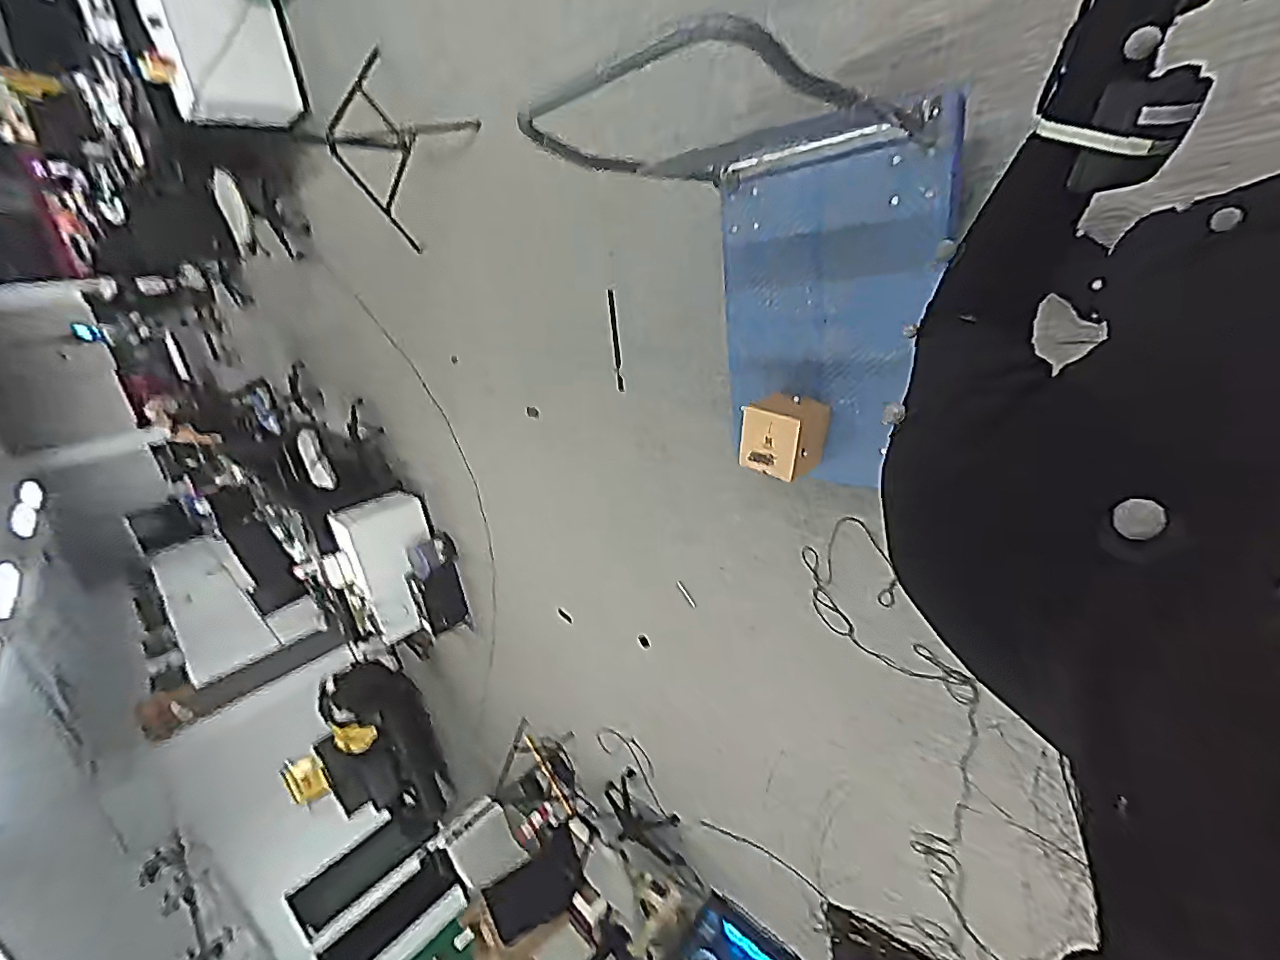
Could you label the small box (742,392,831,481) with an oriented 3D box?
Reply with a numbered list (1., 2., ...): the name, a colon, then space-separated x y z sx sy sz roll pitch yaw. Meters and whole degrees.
1. small box: 0.399 -0.124 1.470 0.168 0.176 0.179 23 124 38
